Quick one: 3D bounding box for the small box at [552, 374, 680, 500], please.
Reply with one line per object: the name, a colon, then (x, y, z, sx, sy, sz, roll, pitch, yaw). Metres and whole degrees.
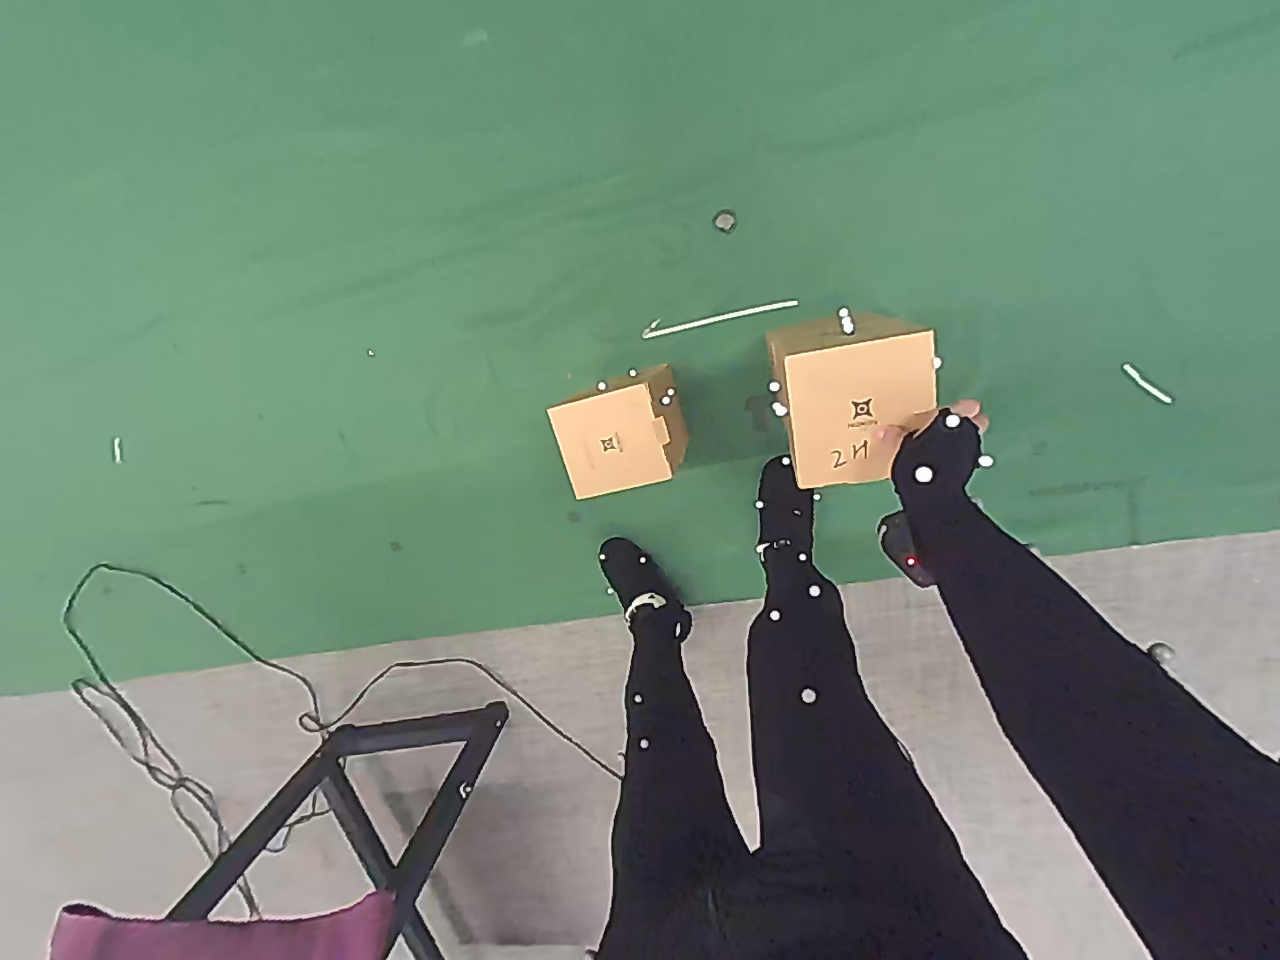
small box: (-0.030, -0.082, 0.960, 0.179, 0.176, 0.168, -12, 105, 14)

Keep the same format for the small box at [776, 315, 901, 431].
small box: (0.318, -0.158, 0.873, 0.168, 0.176, 0.179, -9, 108, 12)

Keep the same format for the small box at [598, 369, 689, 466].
small box: (0.000, -0.118, 1.117, 0.168, 0.176, 0.179, -13, 105, 14)

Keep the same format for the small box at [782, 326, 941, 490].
small box: (0.285, -0.103, 0.720, 0.168, 0.176, 0.179, -7, 109, 14)
